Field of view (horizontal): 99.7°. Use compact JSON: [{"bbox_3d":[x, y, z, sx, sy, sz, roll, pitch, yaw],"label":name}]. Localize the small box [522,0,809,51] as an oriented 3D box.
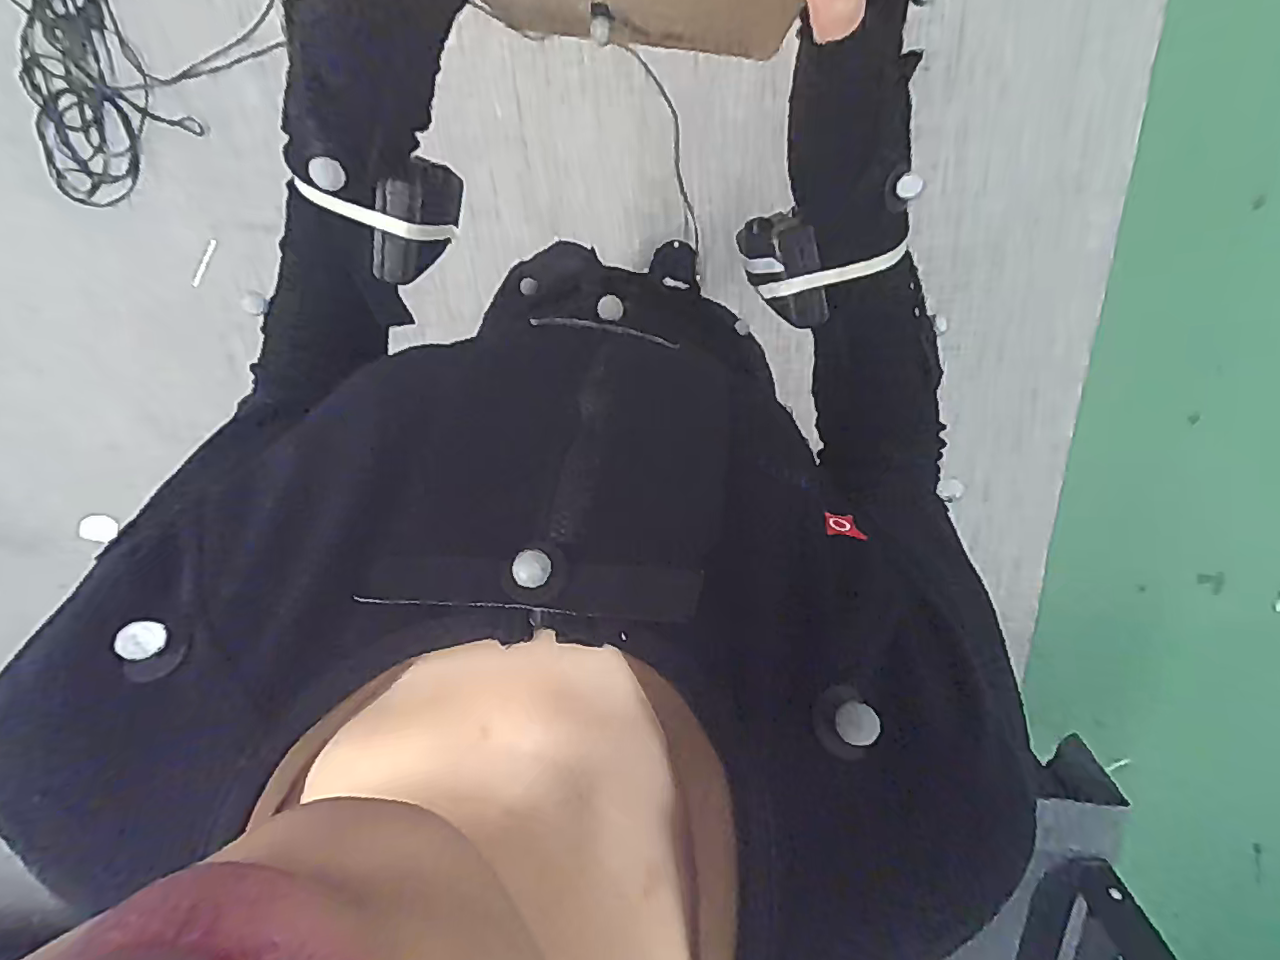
[{"bbox_3d":[0.007,-0.304,0.212,0.168,0.176,0.179,8,119,1],"label":"small box"}]
